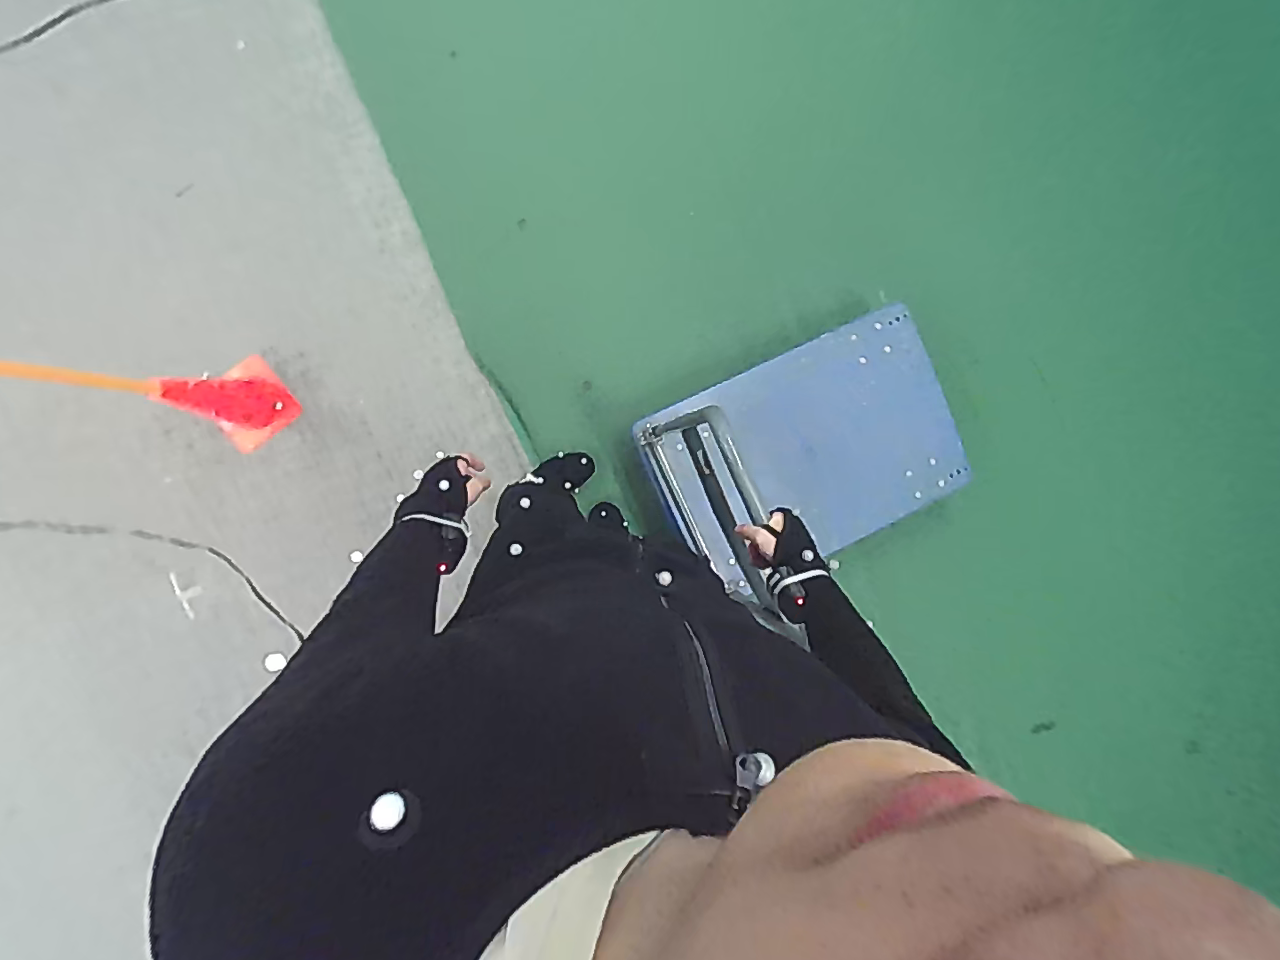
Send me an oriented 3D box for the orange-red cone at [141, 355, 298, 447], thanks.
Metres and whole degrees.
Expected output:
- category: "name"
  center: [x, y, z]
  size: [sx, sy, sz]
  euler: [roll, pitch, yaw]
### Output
- category: "orange-red cone"
  center: [-1.049, -0.210, 1.306]
  size: [0.198, 0.360, 0.199]
  euler: [-37, 95, -5]
